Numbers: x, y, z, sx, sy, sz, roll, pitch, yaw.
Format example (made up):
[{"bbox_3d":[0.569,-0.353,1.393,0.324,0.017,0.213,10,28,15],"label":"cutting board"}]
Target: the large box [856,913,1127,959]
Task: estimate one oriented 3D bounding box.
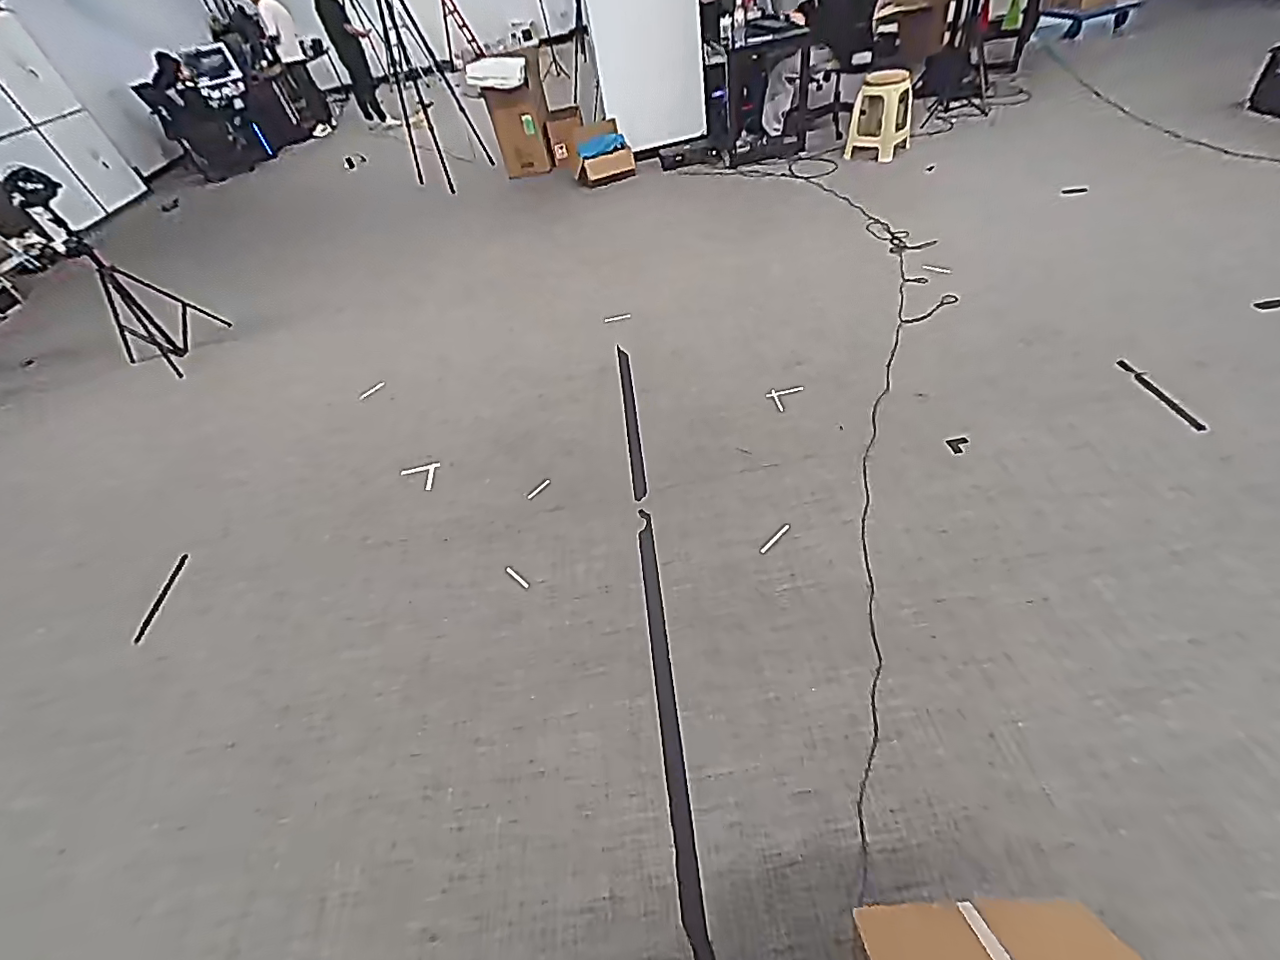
[{"bbox_3d":[0.451,0.746,0.549,0.320,0.408,0.320,-7,85,6],"label":"large box"}]
